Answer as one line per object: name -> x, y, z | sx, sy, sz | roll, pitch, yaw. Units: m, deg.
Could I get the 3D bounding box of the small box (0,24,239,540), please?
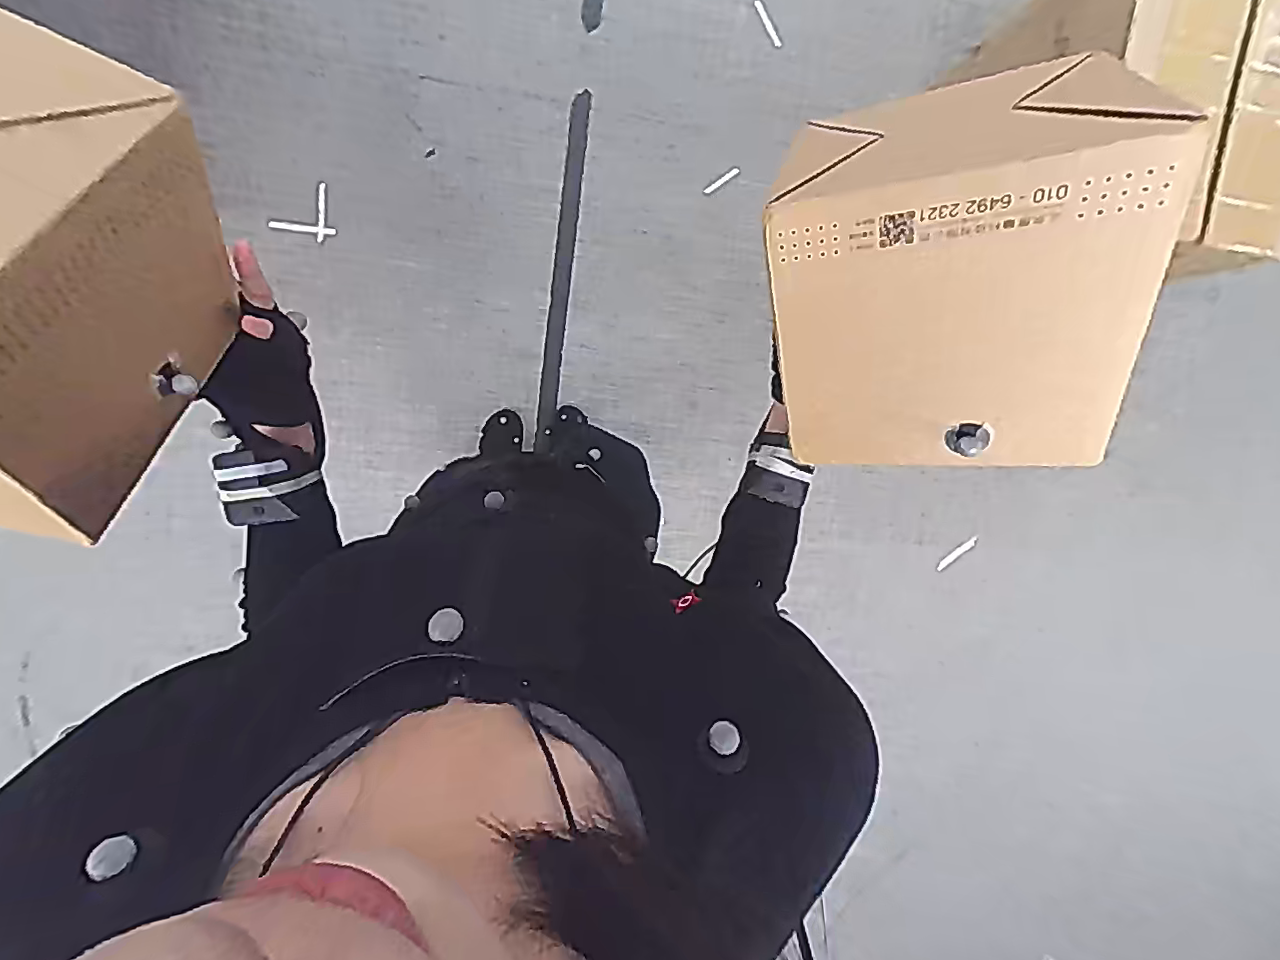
small box -> -0.331, -0.098, 0.248 | 0.168, 0.176, 0.179 | 17, 57, -15

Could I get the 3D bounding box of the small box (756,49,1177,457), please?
small box -> 0.175, -0.133, 0.331 | 0.168, 0.179, 0.176 | 0, 133, 25
